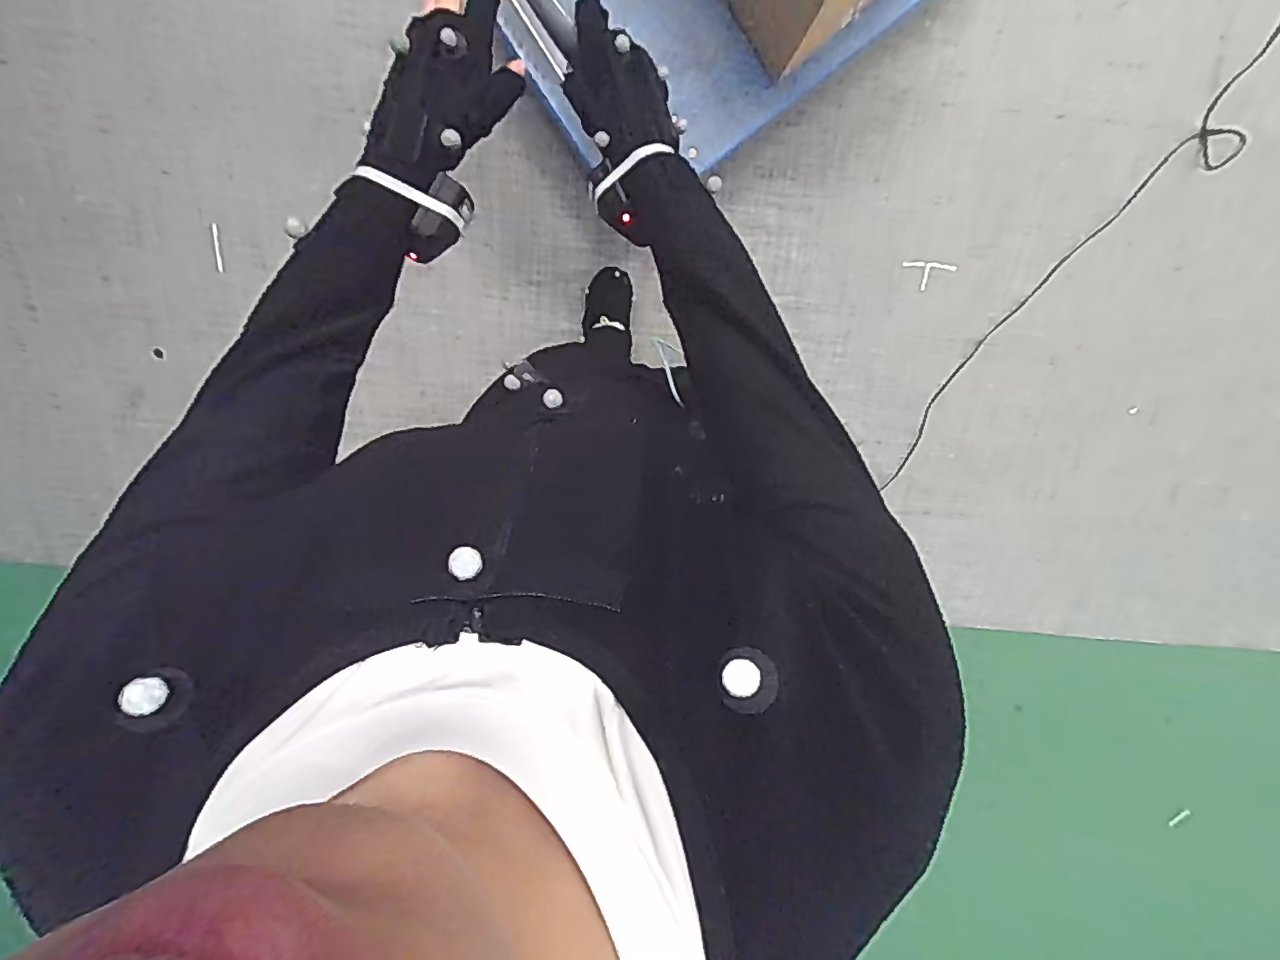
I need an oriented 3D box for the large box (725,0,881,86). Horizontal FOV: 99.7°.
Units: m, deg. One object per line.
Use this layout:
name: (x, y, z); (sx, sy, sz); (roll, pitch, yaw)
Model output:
large box: (0.270, -0.965, 0.855); (0.320, 0.320, 0.408); (-36, 103, 10)
